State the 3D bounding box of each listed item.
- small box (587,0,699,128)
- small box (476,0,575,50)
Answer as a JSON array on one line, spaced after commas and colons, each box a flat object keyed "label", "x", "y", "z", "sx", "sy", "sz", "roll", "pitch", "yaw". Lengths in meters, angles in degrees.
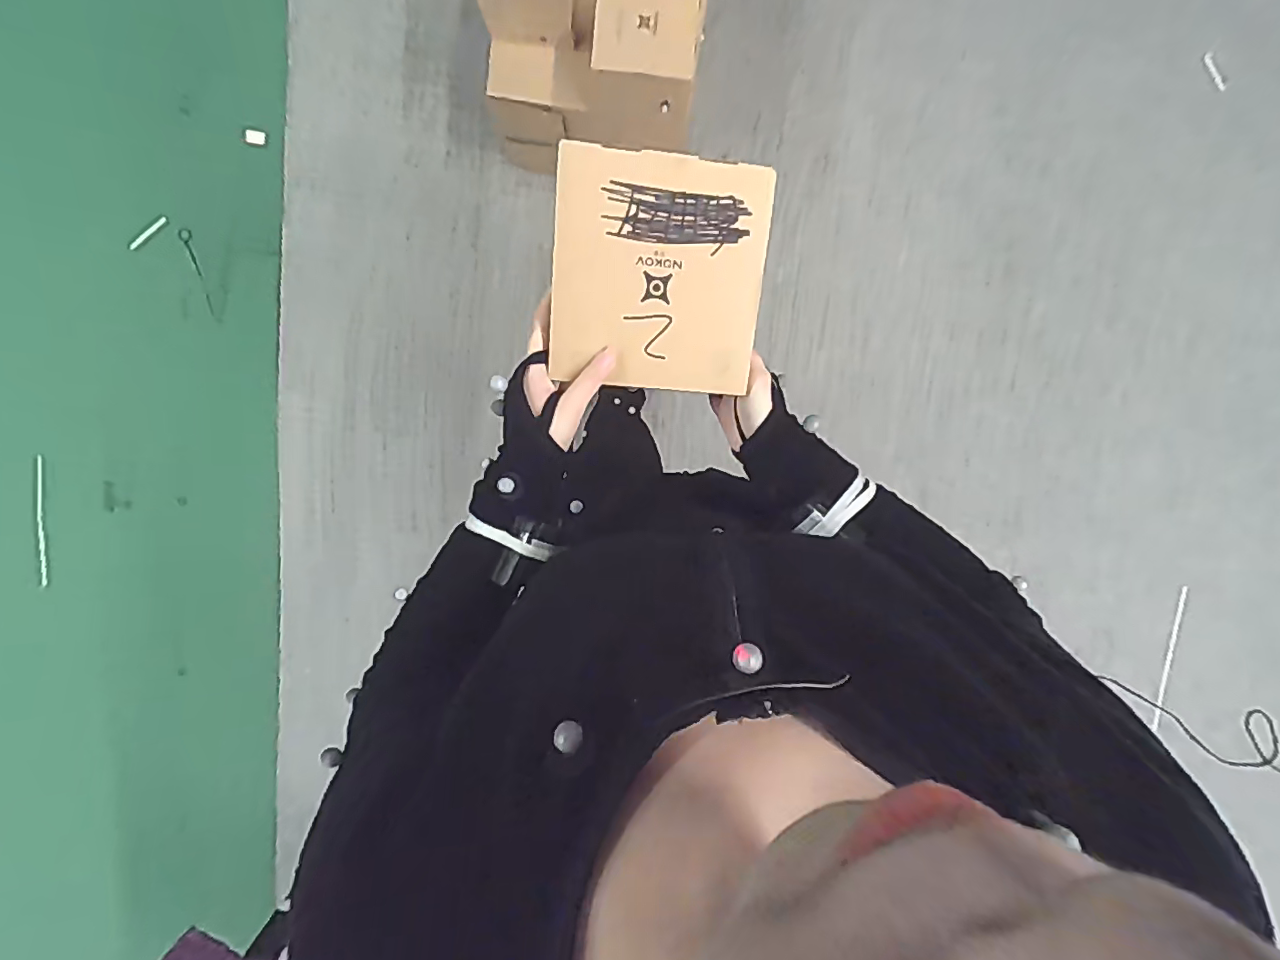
[{"label": "small box", "x": 0.004, "y": -0.767, "z": 0.972, "sx": 0.179, "sy": 0.176, "sz": 0.168, "roll": 5, "pitch": 96, "yaw": -1}, {"label": "small box", "x": -0.205, "y": -0.918, "z": 0.955, "sx": 0.168, "sy": 0.176, "sz": 0.179, "roll": 6, "pitch": 95, "yaw": 0}]
